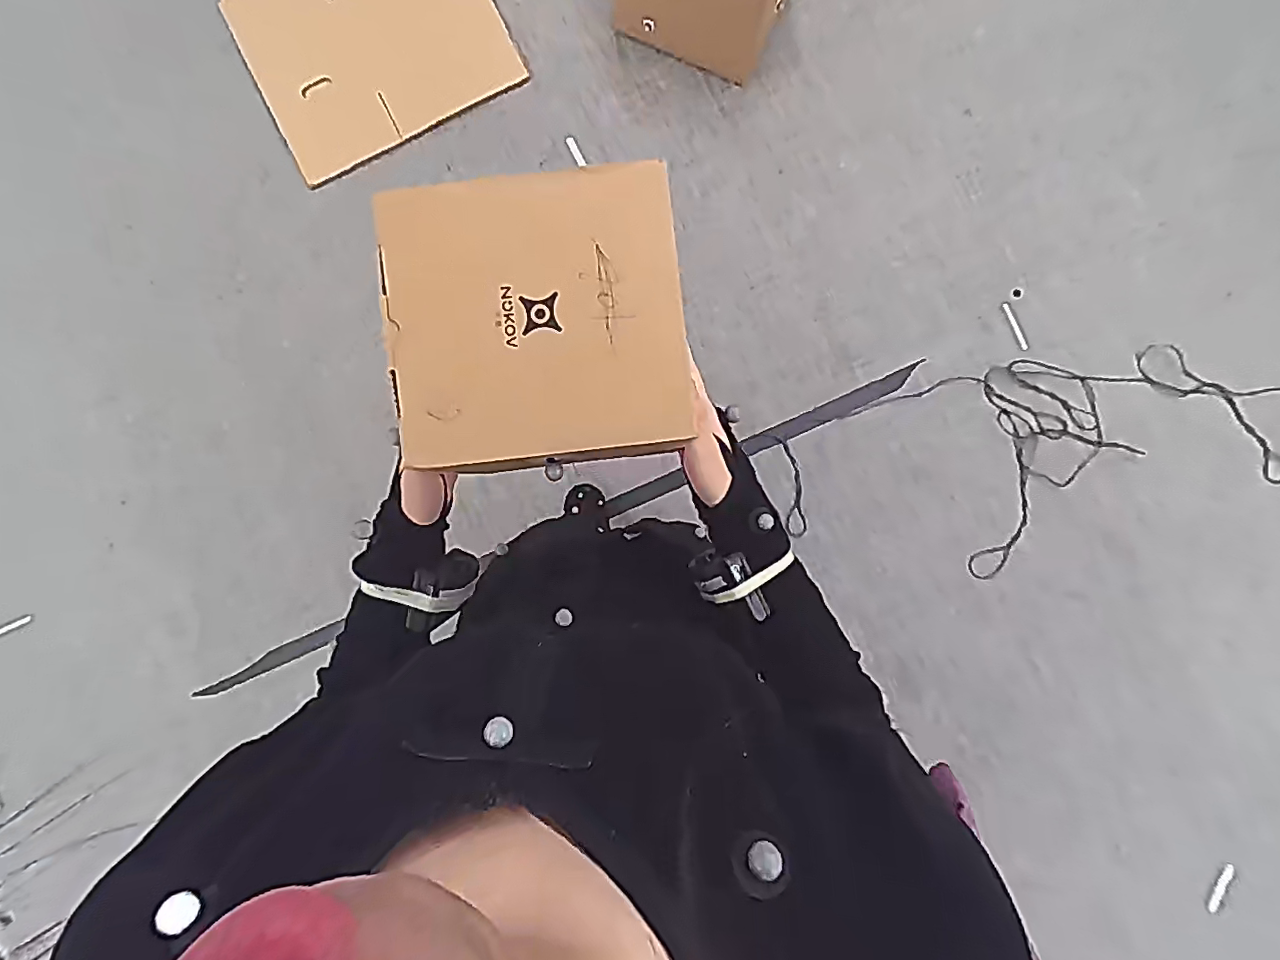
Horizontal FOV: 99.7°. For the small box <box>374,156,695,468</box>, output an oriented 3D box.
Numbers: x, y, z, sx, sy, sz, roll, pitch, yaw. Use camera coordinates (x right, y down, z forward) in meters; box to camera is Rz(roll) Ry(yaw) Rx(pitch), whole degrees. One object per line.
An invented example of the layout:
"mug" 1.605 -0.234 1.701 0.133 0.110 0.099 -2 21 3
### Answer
"small box" -0.060 -0.098 0.394 0.179 0.176 0.168 -7 91 0
